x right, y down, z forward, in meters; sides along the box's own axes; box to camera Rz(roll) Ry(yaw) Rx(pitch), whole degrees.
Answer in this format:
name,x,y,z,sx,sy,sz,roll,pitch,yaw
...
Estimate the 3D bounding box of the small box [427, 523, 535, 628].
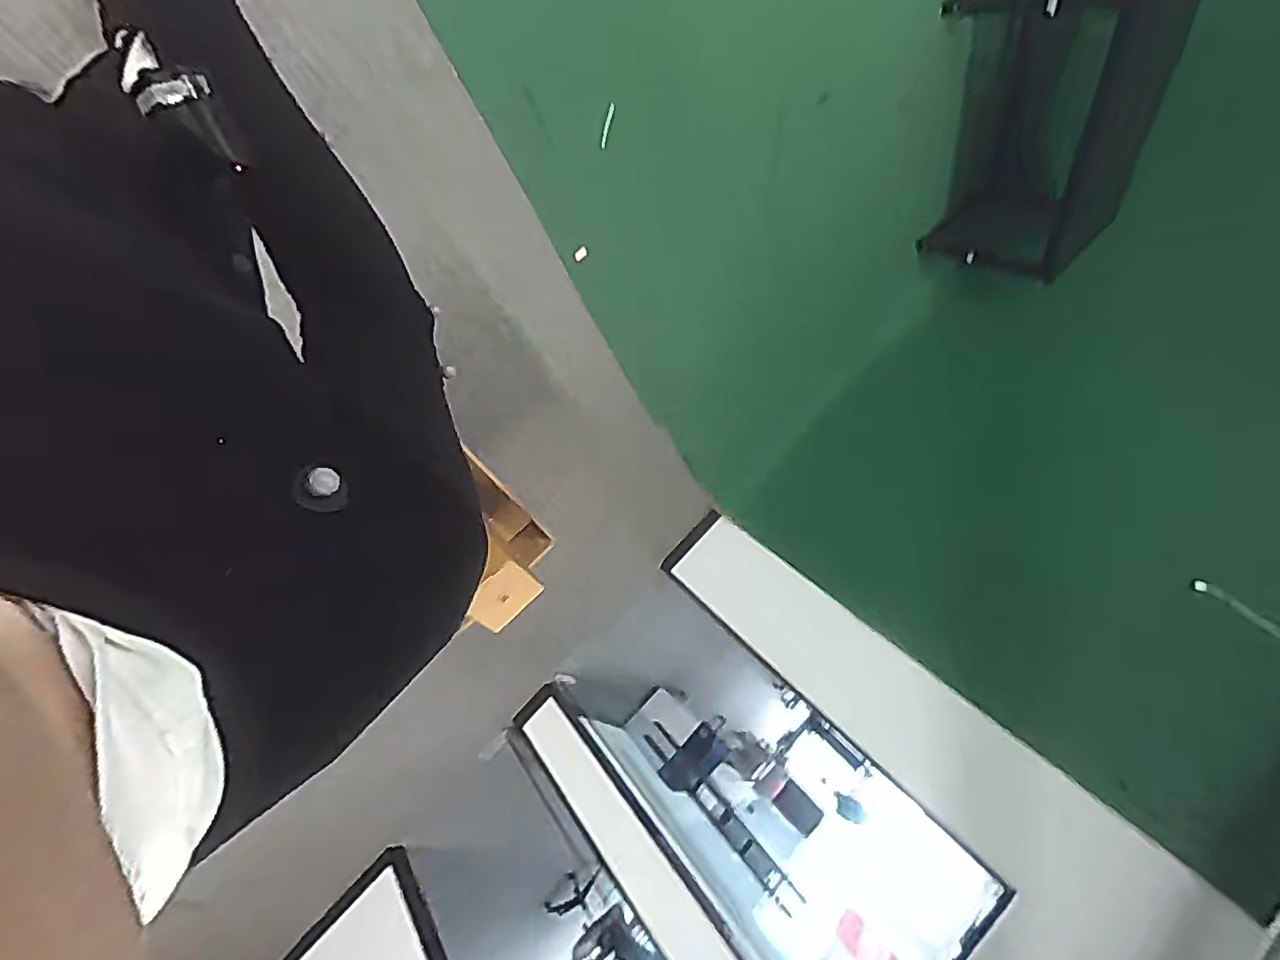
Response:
name,x,y,z,sx,sy,sz,roll,pitch,yaw
small box,-0.405,0.239,1.377,0.168,0.176,0.179,-42,141,-10
